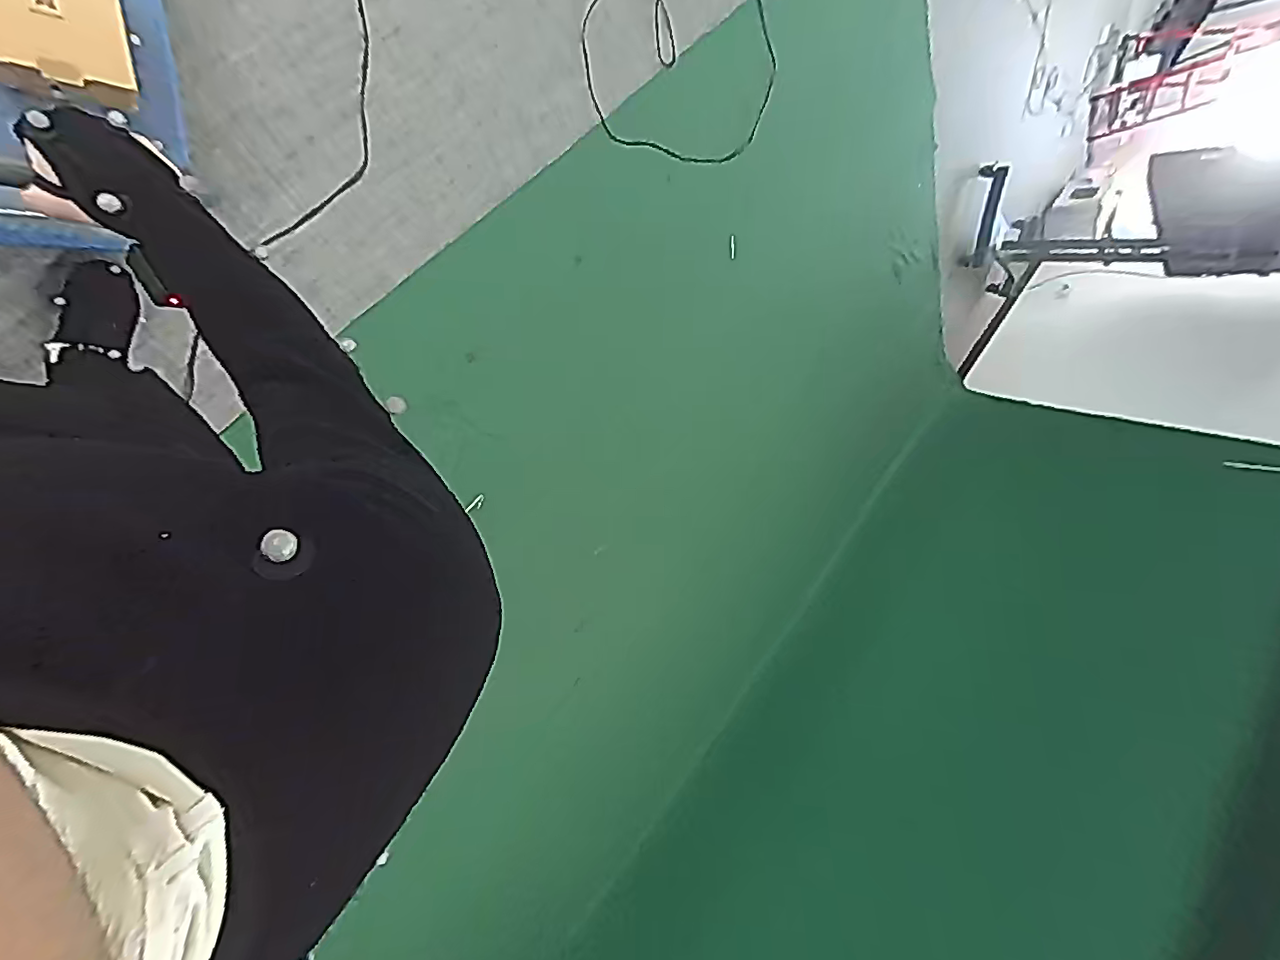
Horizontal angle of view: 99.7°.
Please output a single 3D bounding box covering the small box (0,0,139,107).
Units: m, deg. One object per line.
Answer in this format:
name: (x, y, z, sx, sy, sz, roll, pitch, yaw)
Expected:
small box: (-0.883, -0.691, 0.808, 0.168, 0.176, 0.179, -14, 117, -40)
